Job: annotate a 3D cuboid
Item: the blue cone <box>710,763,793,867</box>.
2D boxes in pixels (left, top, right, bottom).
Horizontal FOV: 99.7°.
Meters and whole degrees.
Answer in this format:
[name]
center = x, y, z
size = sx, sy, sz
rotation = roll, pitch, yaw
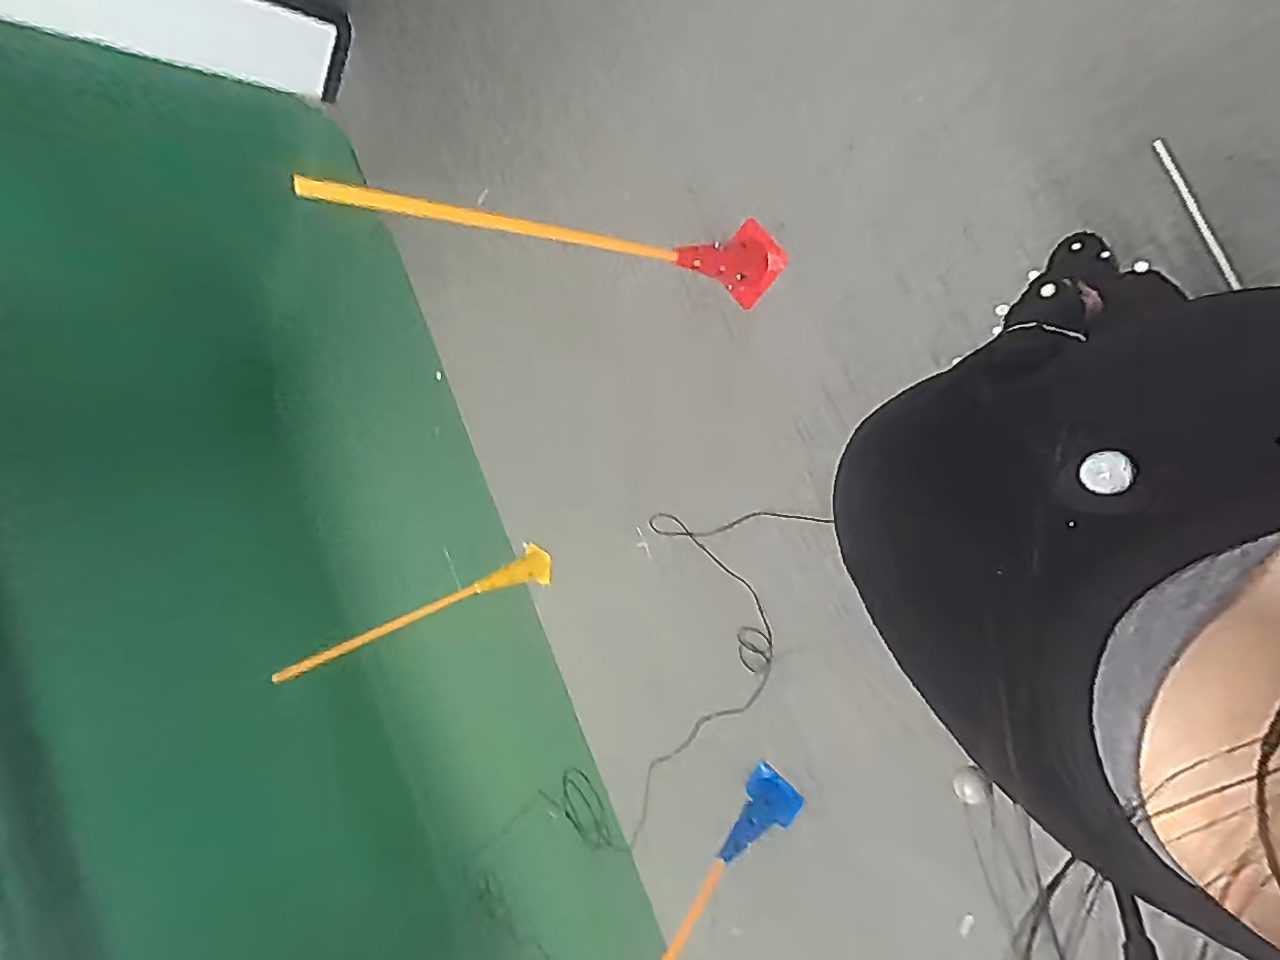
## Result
[blue cone]
center = 0.366, 1.204, 1.903
size = 0.193, 0.380, 0.192
rotation = 32, 122, 30
